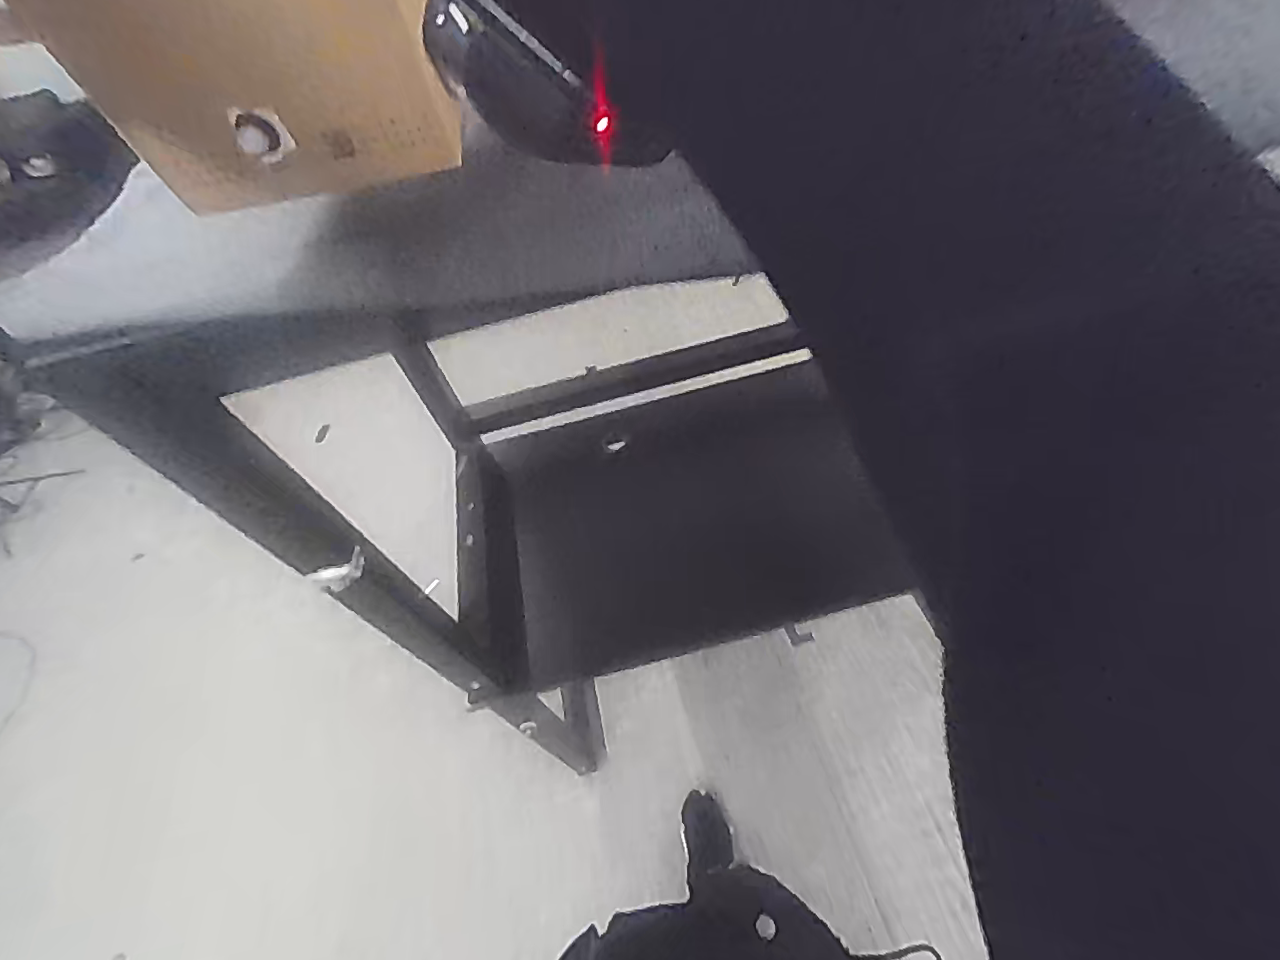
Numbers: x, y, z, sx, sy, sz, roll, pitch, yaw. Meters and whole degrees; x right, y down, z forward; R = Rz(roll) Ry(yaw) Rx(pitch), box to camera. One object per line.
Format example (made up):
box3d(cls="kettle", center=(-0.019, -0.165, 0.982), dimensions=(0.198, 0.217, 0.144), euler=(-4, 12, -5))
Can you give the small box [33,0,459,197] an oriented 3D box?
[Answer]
box3d(cls="small box", center=(-0.207, -0.287, 0.288), dimensions=(0.168, 0.176, 0.179), euler=(-12, 59, 0))
